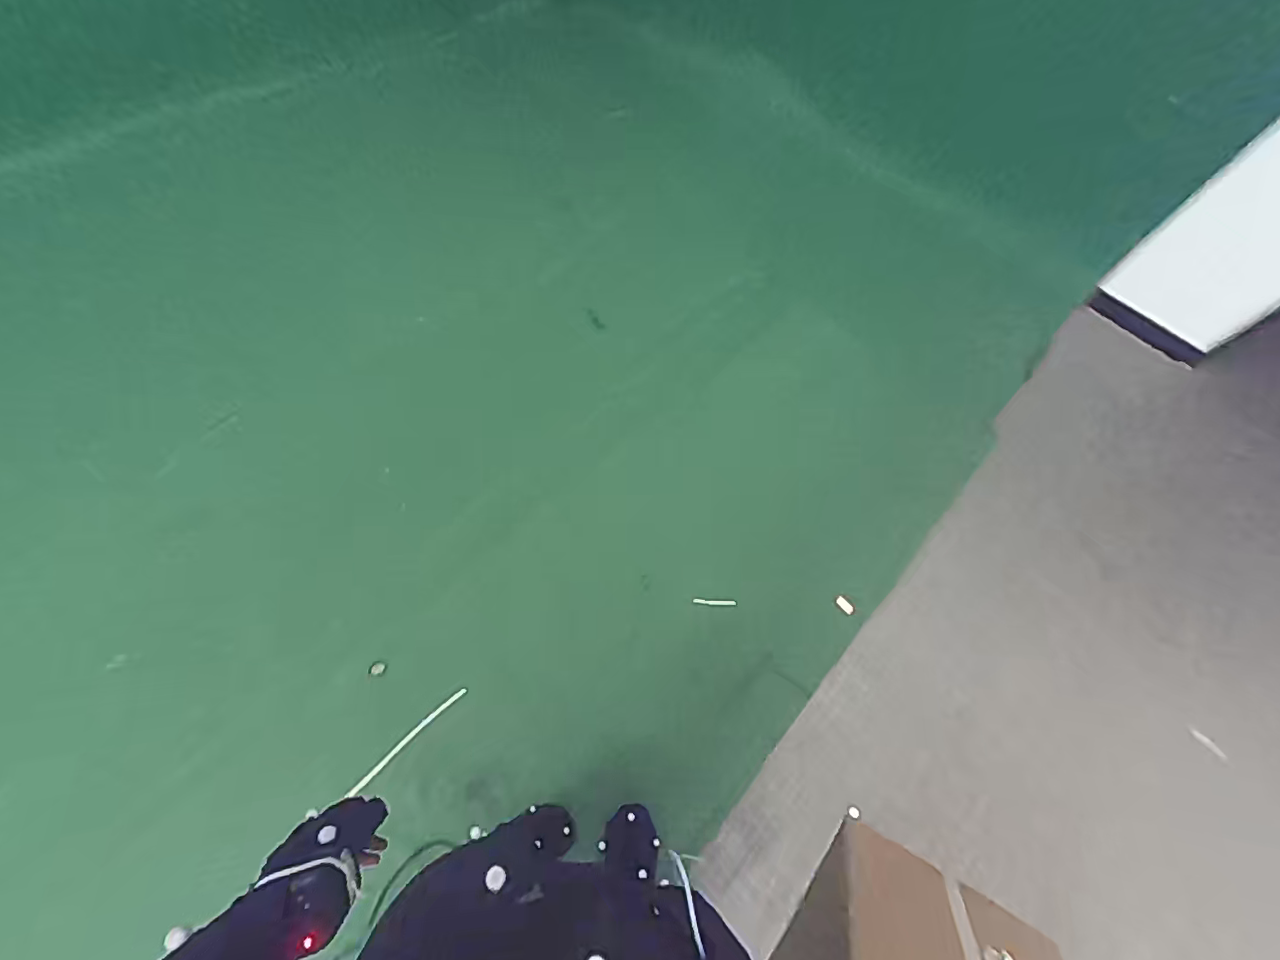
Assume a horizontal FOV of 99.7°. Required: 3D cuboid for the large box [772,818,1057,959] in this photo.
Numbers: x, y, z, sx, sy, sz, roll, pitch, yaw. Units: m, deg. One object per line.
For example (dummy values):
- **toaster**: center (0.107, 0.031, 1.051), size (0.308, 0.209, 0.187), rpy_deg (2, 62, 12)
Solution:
- **large box**: center (0.338, 0.737, 0.652), size (0.320, 0.408, 0.320), rpy_deg (26, 98, 17)
